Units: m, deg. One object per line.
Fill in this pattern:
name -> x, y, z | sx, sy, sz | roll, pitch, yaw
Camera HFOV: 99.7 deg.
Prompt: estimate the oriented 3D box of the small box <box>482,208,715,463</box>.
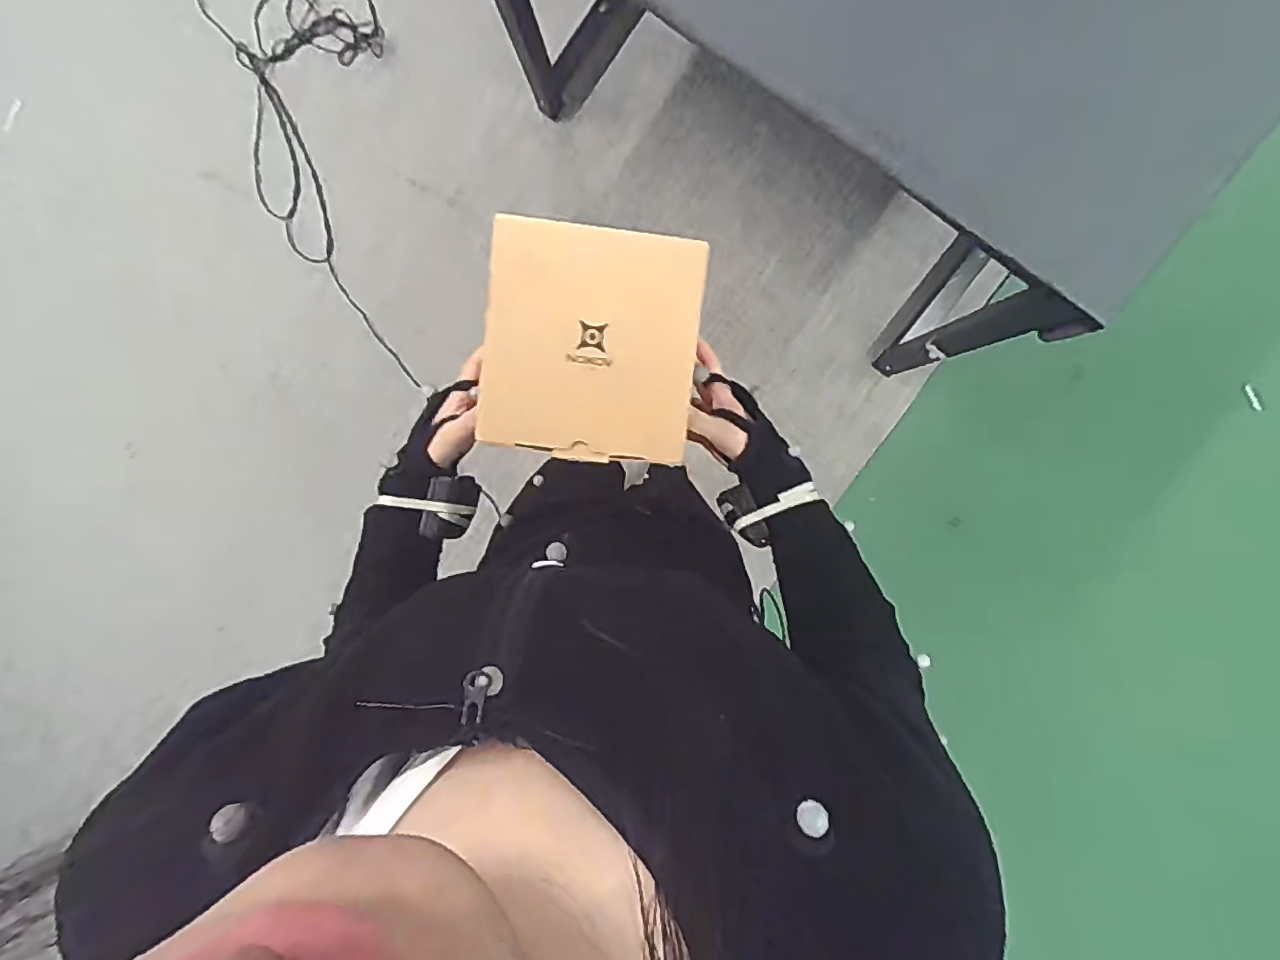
small box -> -0.039, -0.114, 0.489 | 0.168, 0.176, 0.179 | 5, 95, -5
